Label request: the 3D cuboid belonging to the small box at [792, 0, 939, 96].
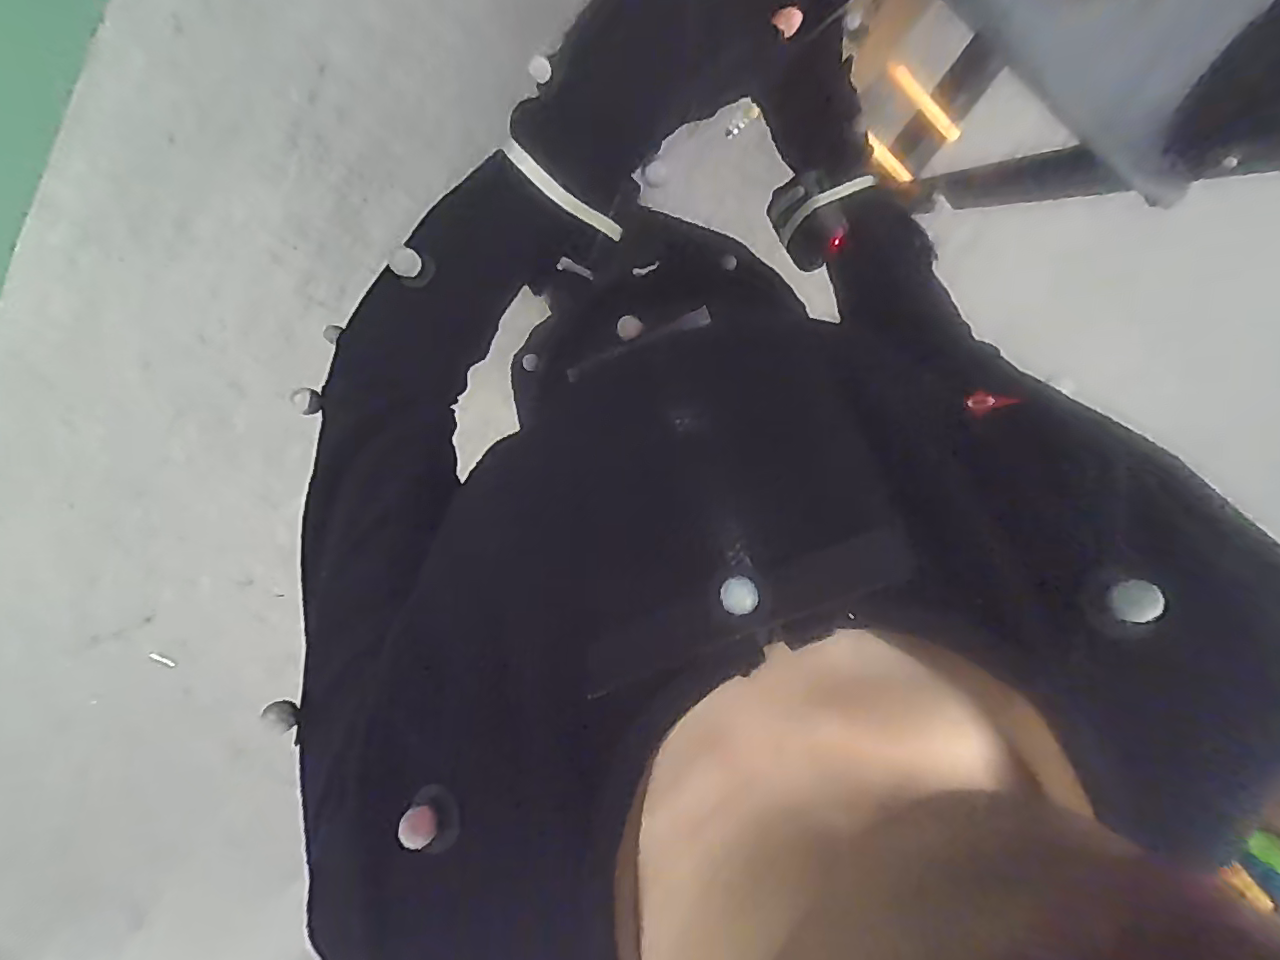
[{"bbox_3d":[0.407,-0.864,1.005,0.168,0.176,0.179,36,105,-20],"label":"small box"}]
